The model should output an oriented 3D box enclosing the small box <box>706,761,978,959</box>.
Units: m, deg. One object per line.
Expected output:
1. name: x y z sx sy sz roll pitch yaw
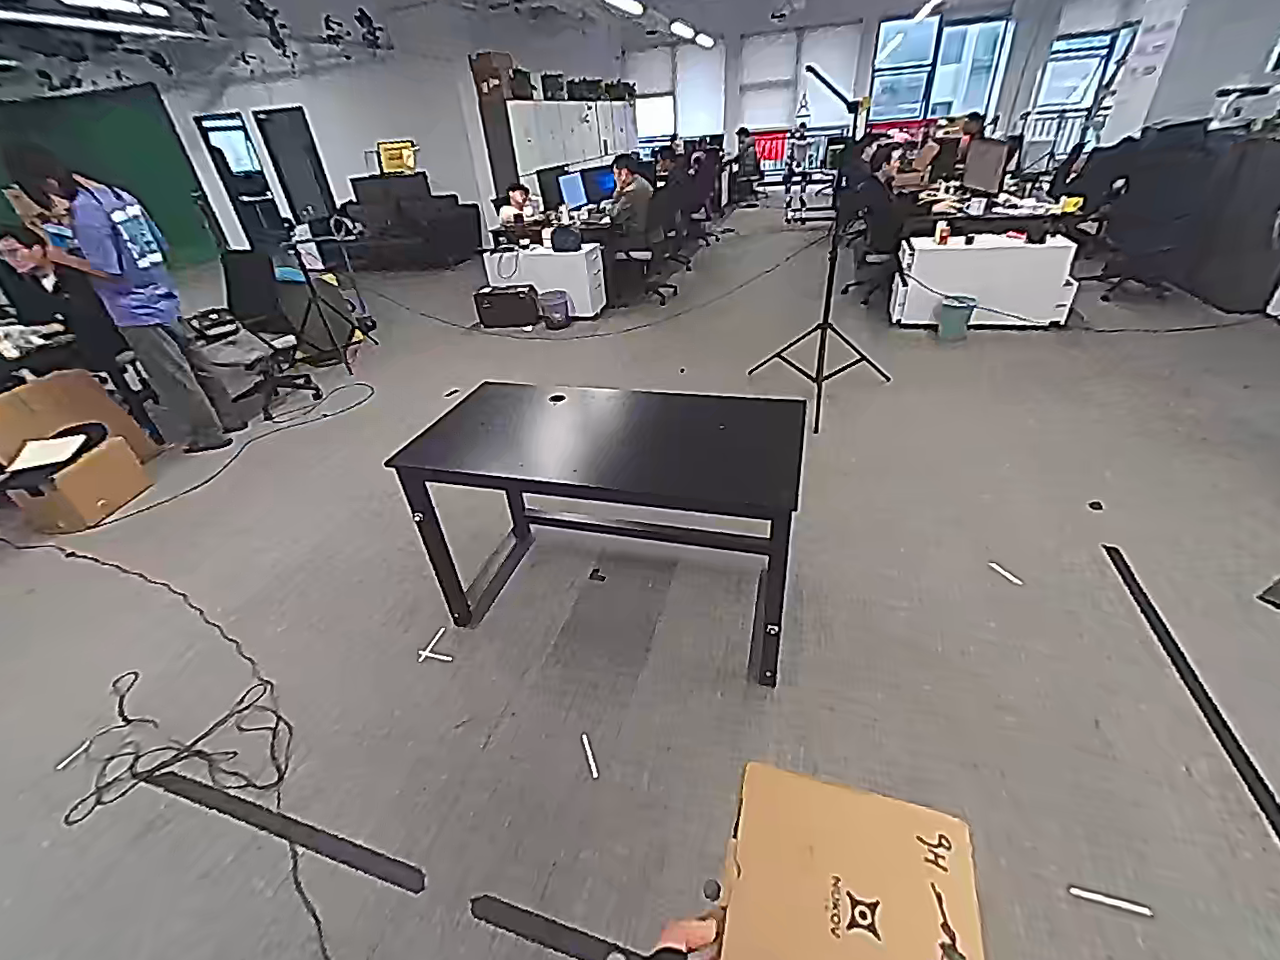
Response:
1. small box: 0.152 0.366 0.443 0.179 0.176 0.168 8 45 14
